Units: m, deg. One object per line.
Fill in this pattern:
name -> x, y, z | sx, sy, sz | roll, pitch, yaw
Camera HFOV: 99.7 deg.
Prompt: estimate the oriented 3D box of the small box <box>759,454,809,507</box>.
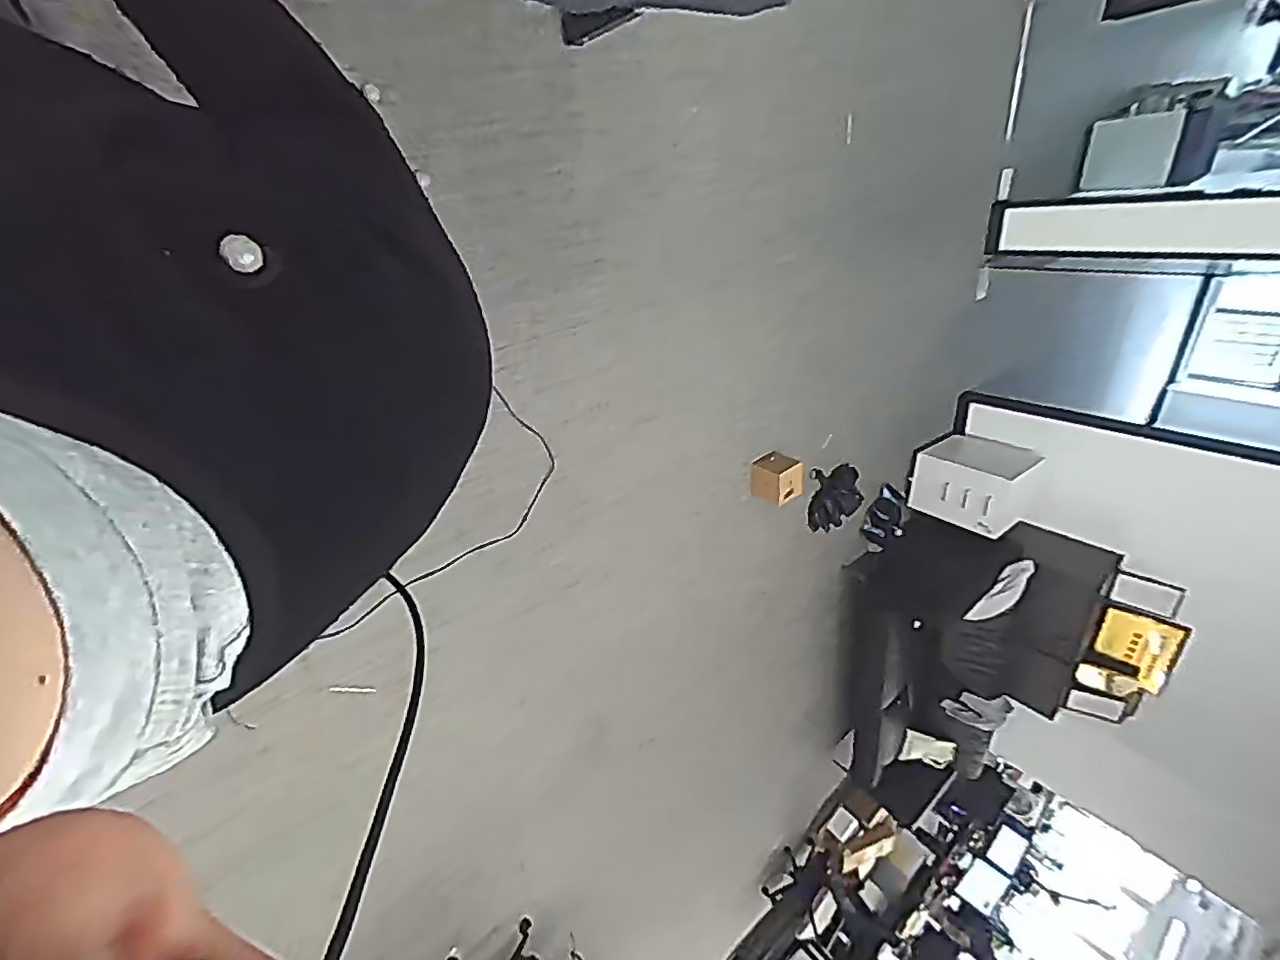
small box -> 0.678, -0.002, 2.555 | 0.168, 0.176, 0.179 | -27, 123, -28
